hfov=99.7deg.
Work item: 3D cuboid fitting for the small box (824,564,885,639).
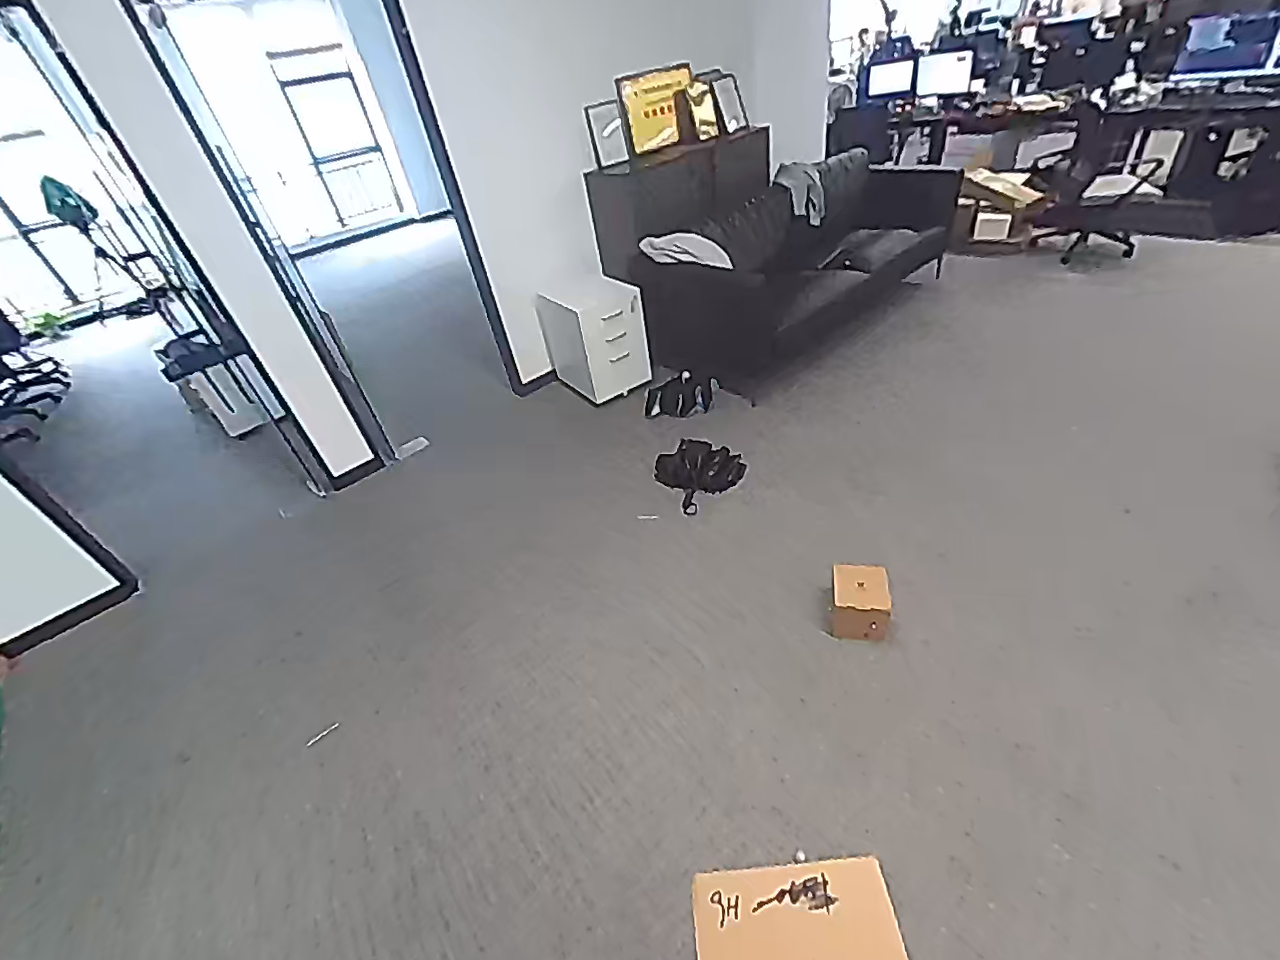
[{"bbox_3d":[0.708,0.405,1.797,0.168,0.176,0.179,2,38,14],"label":"small box"}]
